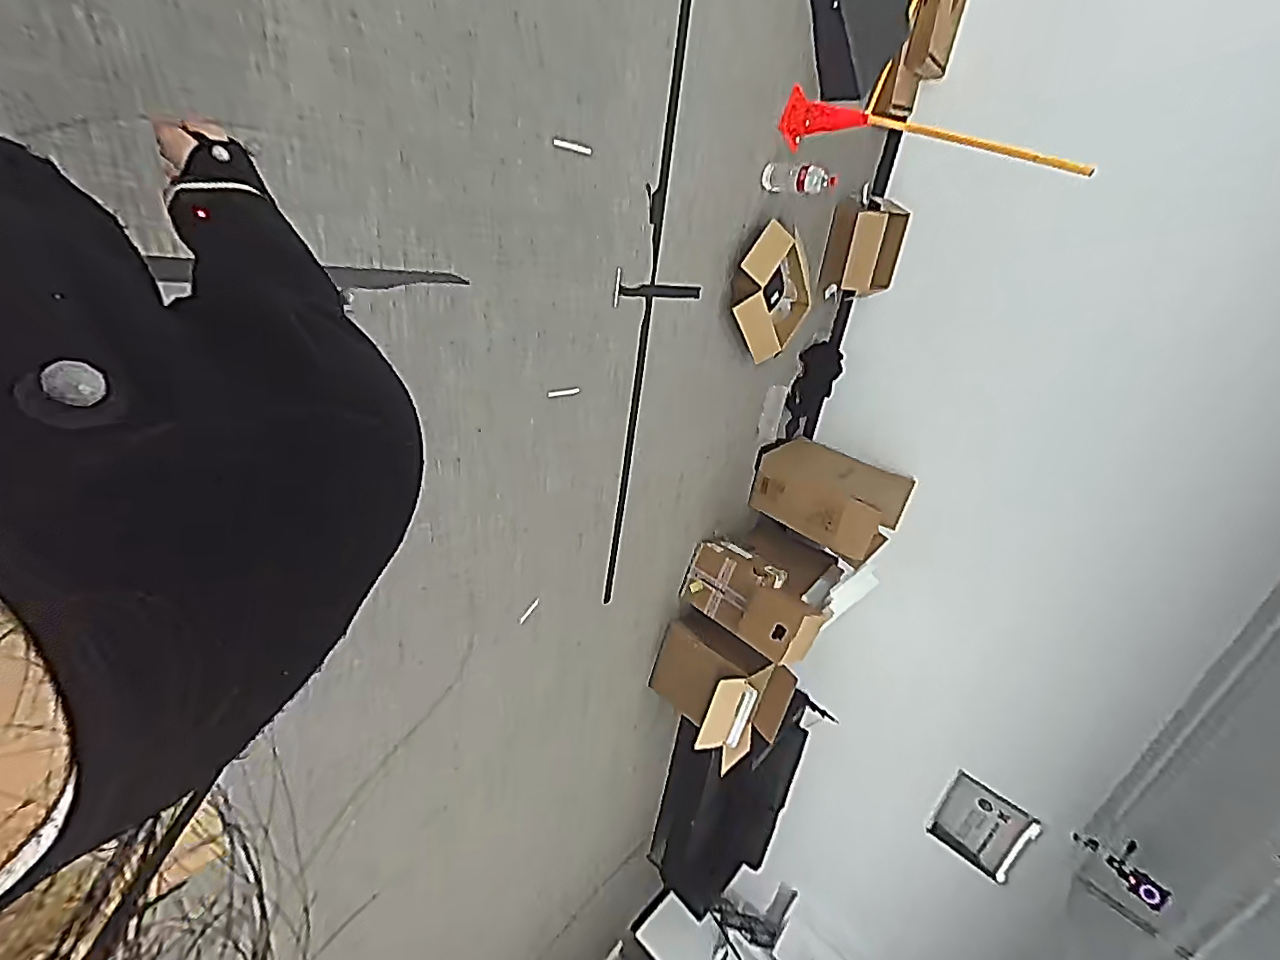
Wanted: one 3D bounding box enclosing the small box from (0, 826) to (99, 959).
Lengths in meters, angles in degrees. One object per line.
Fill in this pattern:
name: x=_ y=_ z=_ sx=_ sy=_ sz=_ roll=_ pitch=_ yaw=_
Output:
small box: x=-1.446 y=0.974 z=1.284 sx=0.168 sy=0.176 sz=0.179 roll=-31 pitch=134 yaw=-40
